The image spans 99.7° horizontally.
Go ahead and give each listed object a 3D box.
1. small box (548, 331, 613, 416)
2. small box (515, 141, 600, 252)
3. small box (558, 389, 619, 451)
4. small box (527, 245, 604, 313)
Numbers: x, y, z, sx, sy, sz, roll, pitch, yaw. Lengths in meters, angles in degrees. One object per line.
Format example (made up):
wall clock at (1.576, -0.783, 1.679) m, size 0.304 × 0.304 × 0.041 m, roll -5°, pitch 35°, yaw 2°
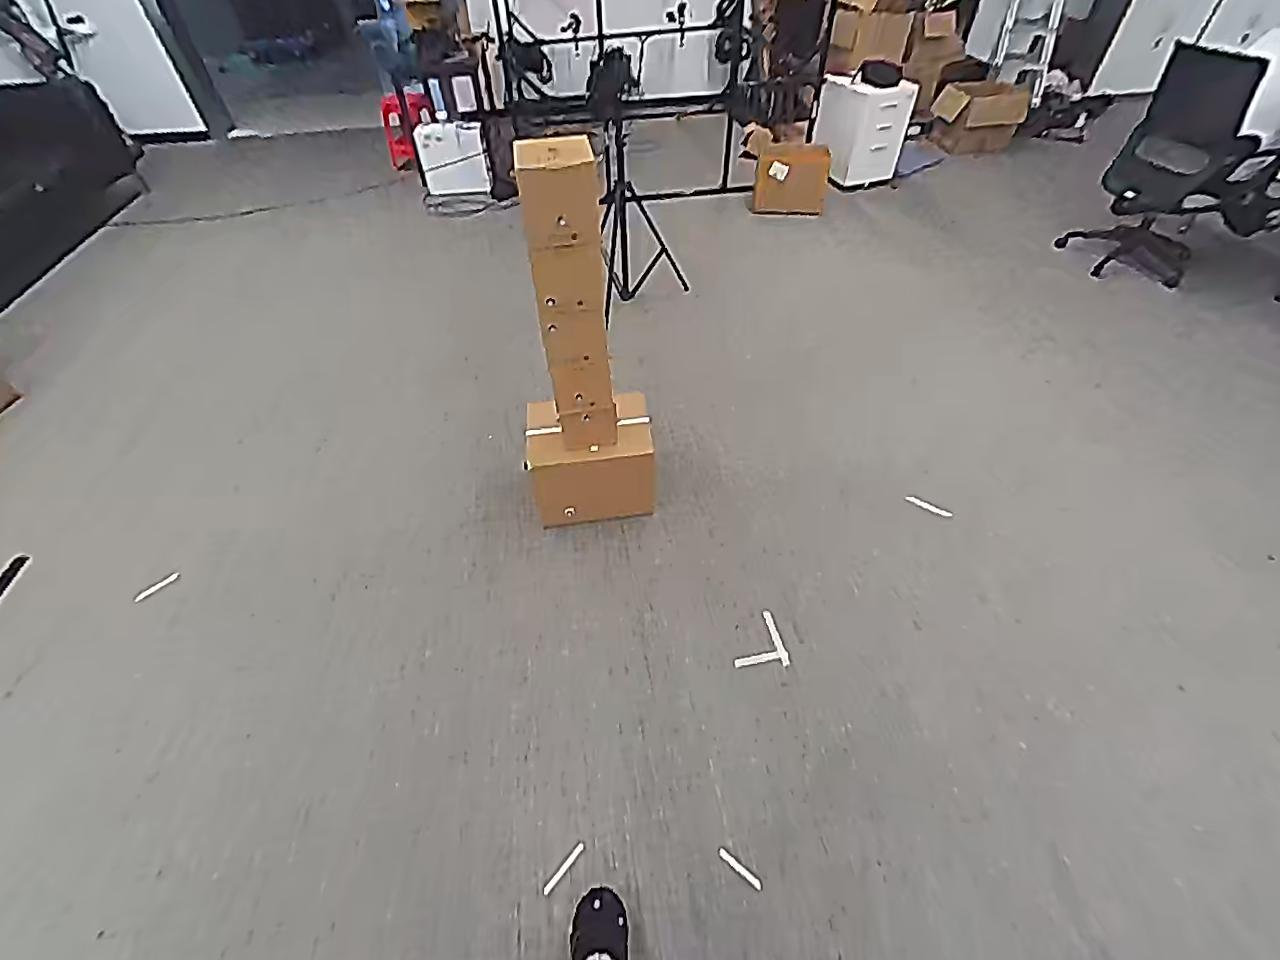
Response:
small box at (-0.174, -0.312, 1.587) m, size 0.168 × 0.176 × 0.179 m, roll -8°, pitch 49°, yaw -5°
small box at (-0.185, -0.637, 1.217) m, size 0.168 × 0.176 × 0.179 m, roll -9°, pitch 49°, yaw -5°
small box at (-0.167, -0.209, 1.712) m, size 0.179 × 0.176 × 0.168 m, roll -8°, pitch 49°, yaw -7°
small box at (-0.181, -0.529, 1.341) m, size 0.168 × 0.176 × 0.179 m, roll -6°, pitch 48°, yaw -4°
